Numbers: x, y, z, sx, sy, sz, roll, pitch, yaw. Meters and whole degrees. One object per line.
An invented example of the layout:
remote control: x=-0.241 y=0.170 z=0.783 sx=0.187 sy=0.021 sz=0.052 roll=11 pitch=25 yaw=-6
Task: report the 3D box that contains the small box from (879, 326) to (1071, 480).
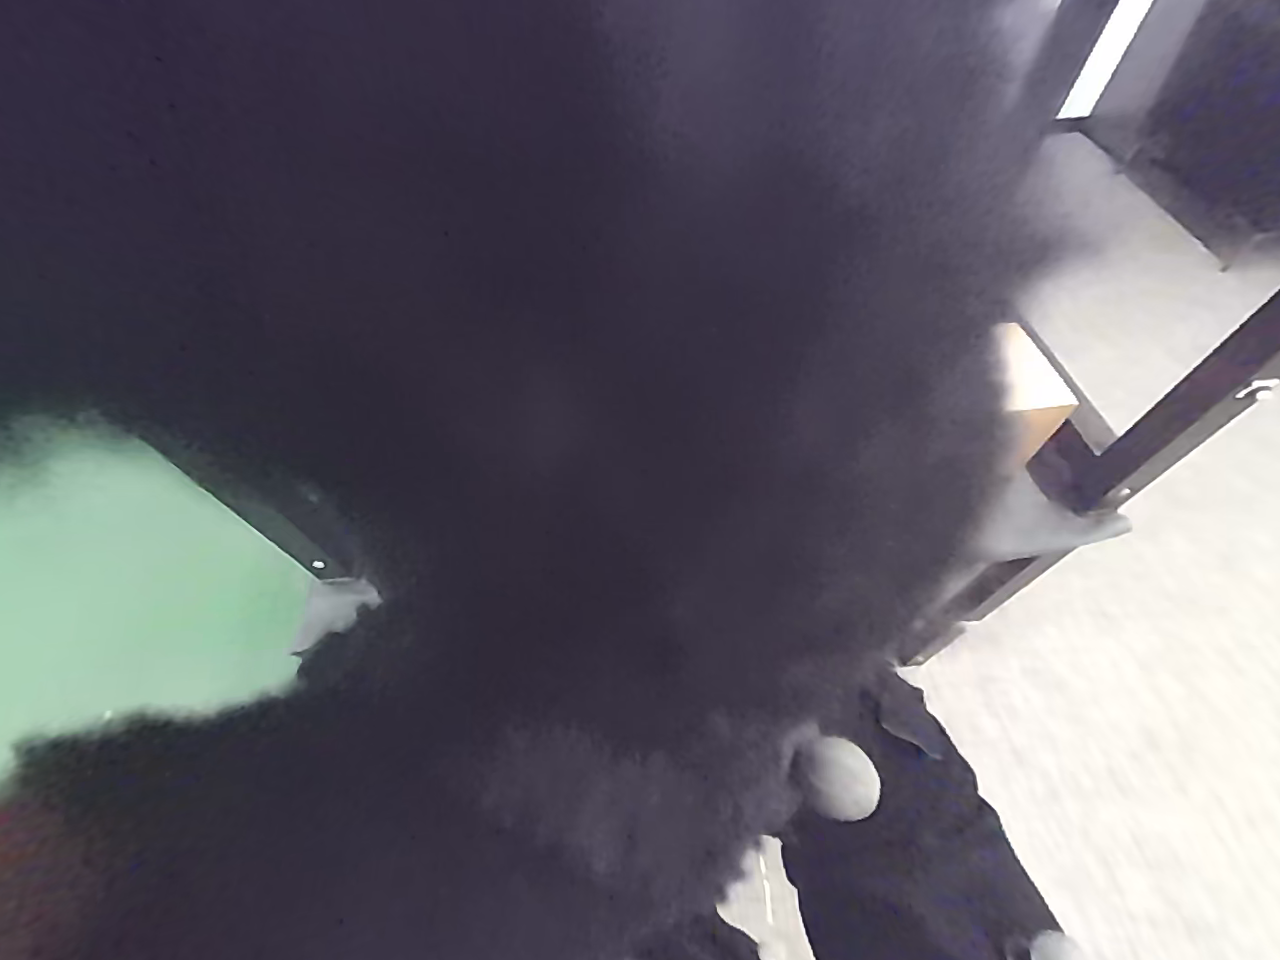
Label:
small box: x=0.503 y=-0.112 z=0.846 sx=0.168 sy=0.176 sz=0.179 roll=-6 pitch=54 yaw=-1
